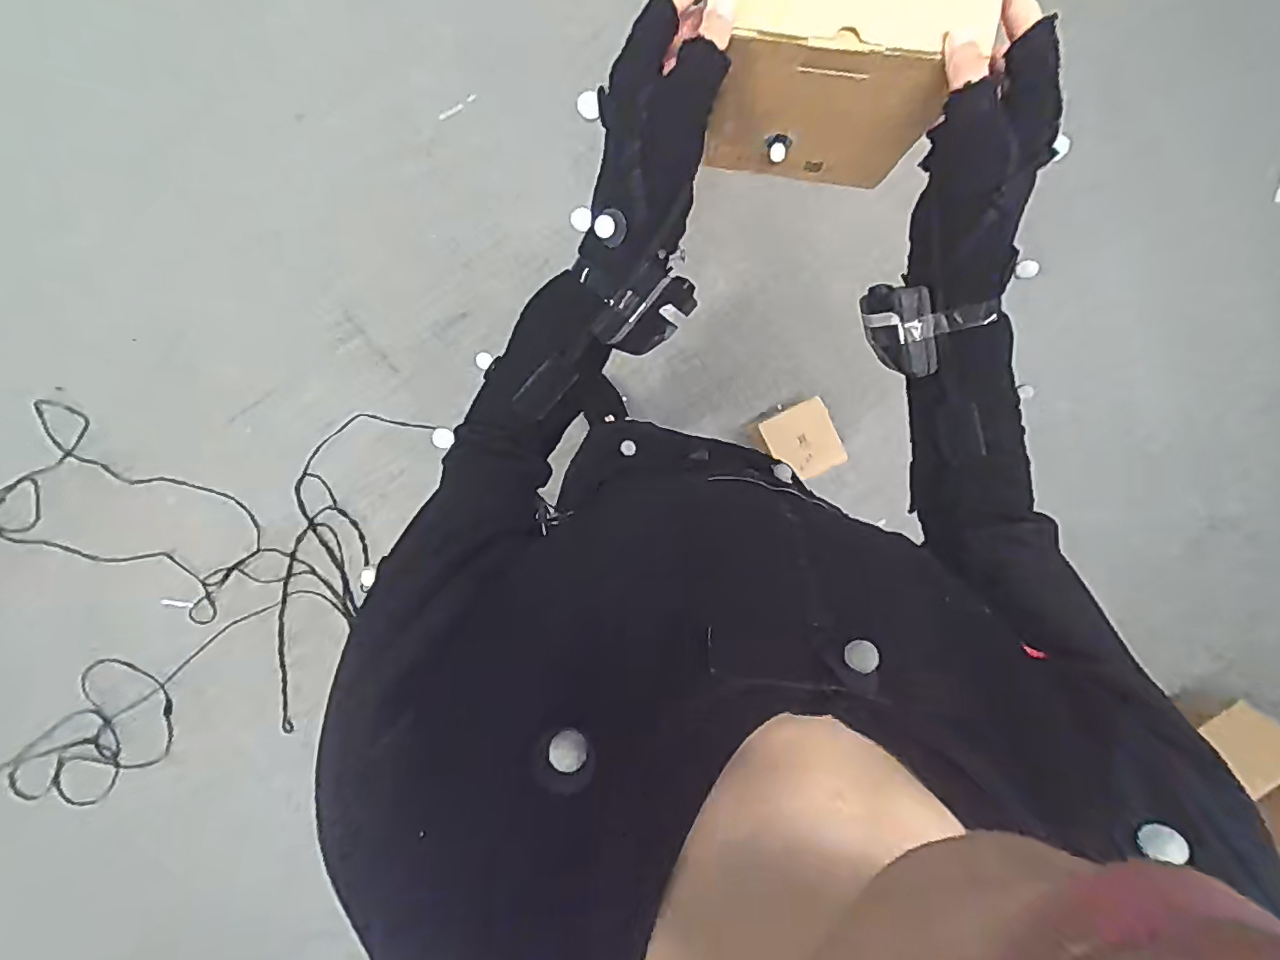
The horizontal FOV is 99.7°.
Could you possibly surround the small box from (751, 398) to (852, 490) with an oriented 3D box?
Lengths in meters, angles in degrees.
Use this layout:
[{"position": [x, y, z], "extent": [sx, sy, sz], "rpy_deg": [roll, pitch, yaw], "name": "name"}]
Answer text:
[{"position": [0.400, -0.089, 1.376], "extent": [0.168, 0.176, 0.179], "rpy_deg": [-26, 94, 3], "name": "small box"}]
